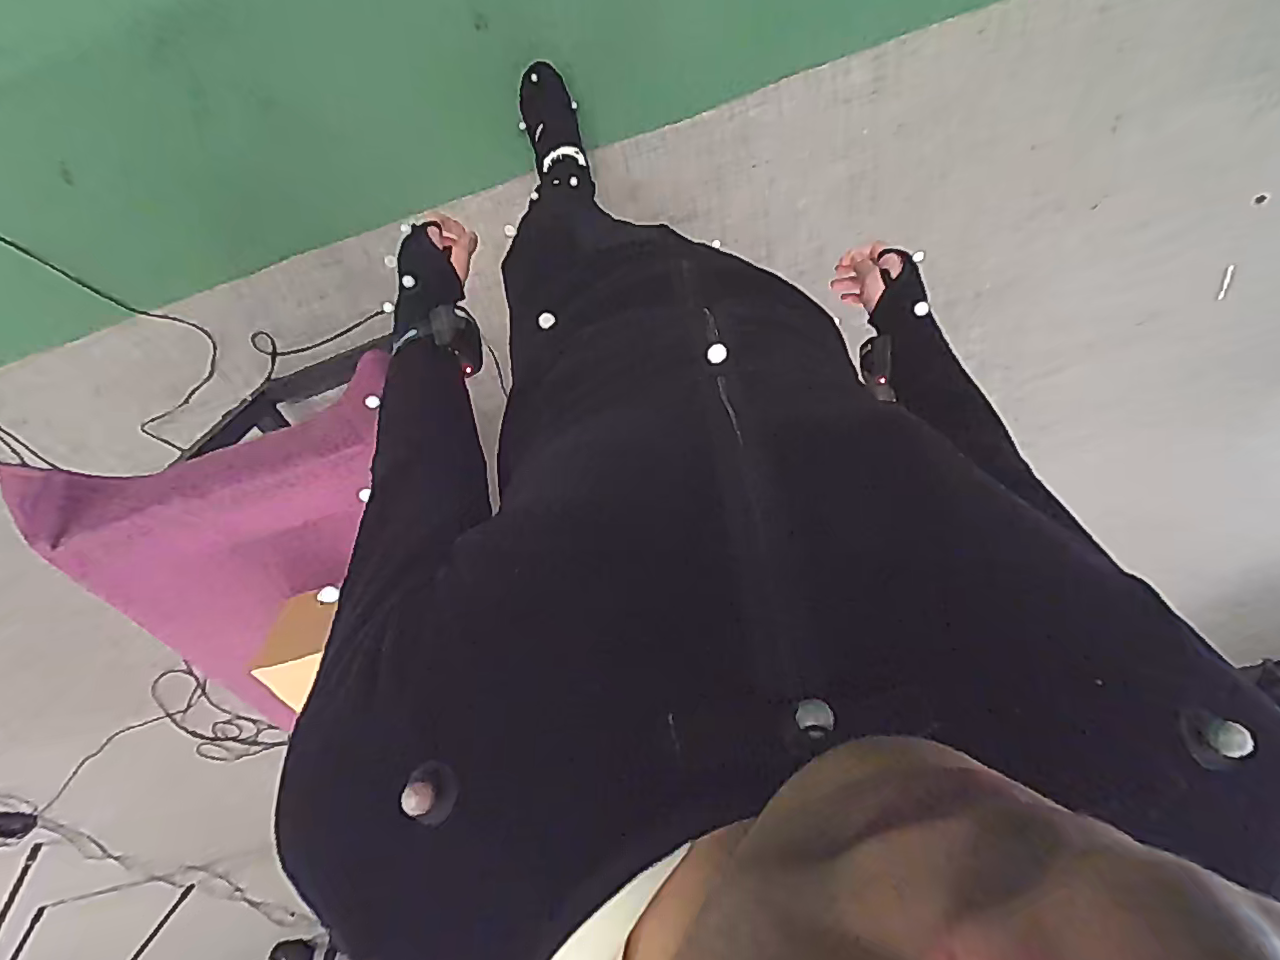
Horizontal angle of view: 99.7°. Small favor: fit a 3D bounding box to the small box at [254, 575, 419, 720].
[{"bbox_3d":[-0.535,0.300,0.984,0.179,0.176,0.168,-15,126,5],"label":"small box"}]
